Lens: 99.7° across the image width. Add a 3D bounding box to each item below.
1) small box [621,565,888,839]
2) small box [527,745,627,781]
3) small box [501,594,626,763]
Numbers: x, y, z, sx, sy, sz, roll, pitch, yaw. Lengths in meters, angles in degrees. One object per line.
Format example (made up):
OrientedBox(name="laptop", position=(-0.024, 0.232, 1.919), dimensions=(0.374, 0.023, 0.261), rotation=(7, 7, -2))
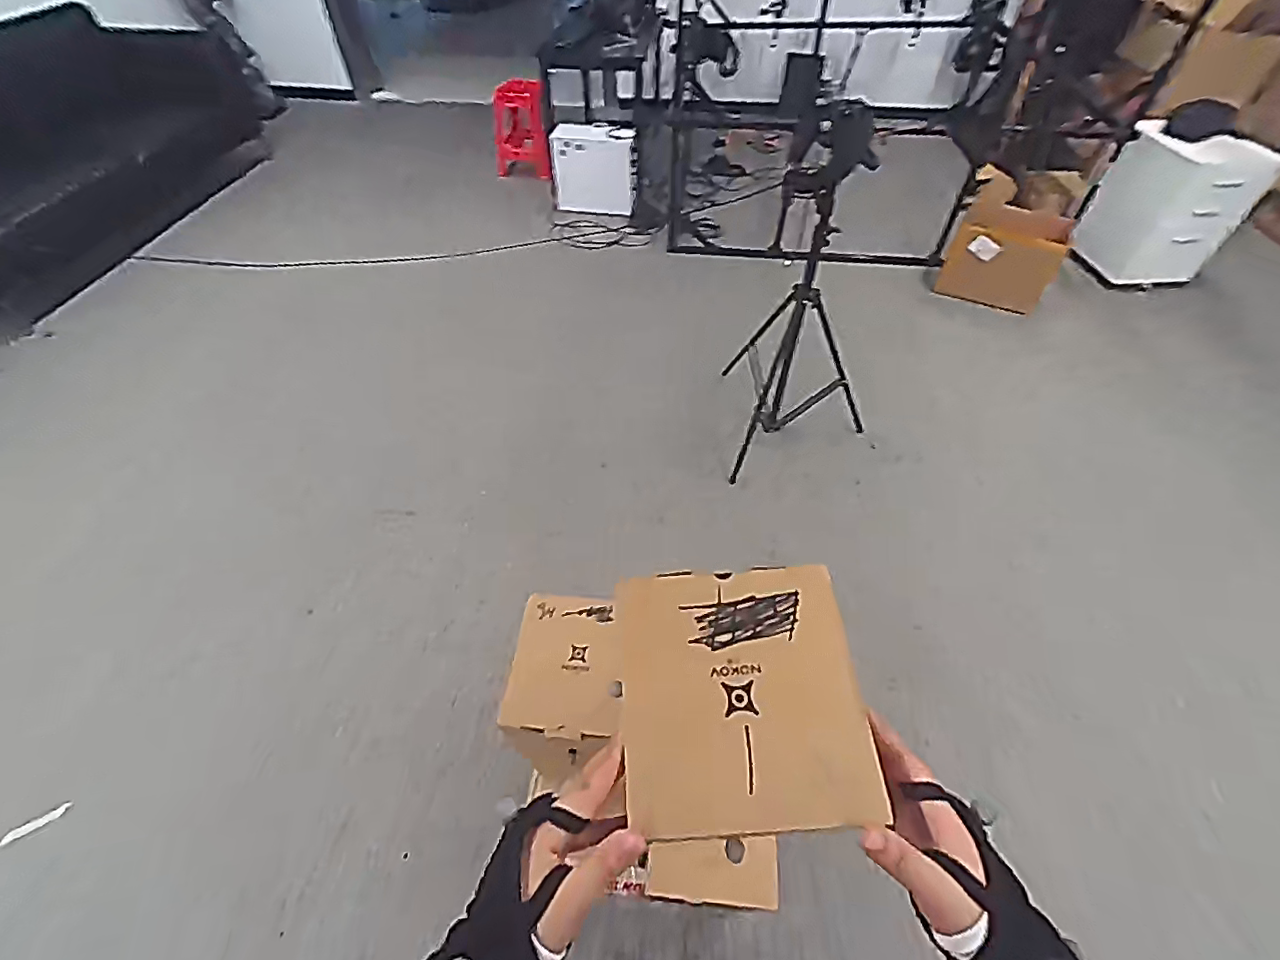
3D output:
OrientedBox(name="small box", position=(0.072, 0.189, 0.449), dimensions=(0.168, 0.176, 0.179), rotation=(-5, 57, 0))
OrientedBox(name="small box", position=(-0.074, 0.375, 0.886), dimensions=(0.168, 0.176, 0.179), rotation=(2, 52, 5))
OrientedBox(name="small box", position=(-0.074, 0.280, 0.751), dimensions=(0.168, 0.176, 0.179), rotation=(4, 53, 5))
